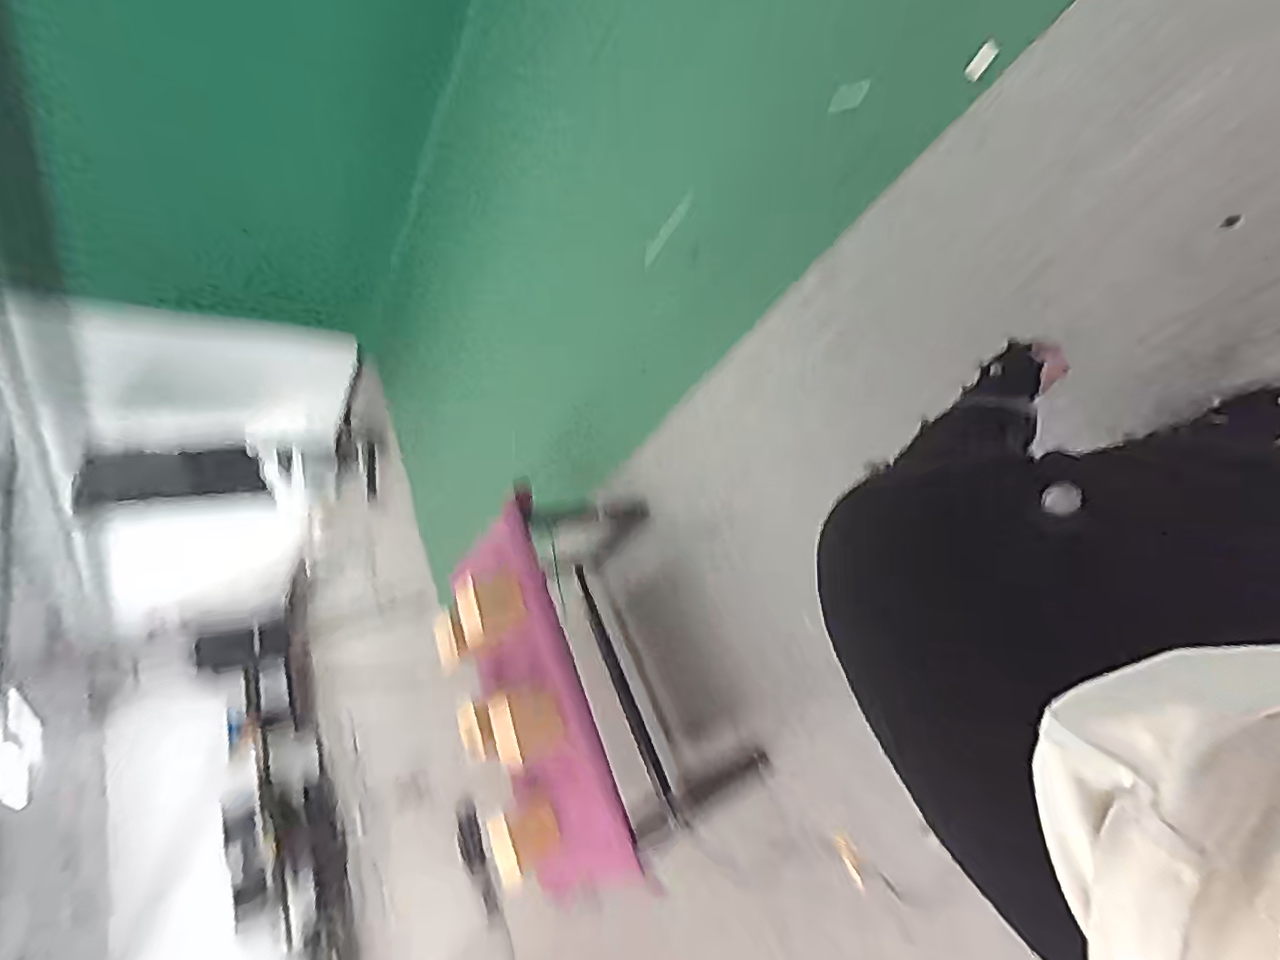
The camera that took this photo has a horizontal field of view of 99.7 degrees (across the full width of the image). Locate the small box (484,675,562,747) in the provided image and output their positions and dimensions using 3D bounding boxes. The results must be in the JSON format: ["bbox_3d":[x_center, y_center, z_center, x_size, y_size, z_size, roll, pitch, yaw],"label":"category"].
[{"bbox_3d":[-0.381,0.749,1.766,0.168,0.176,0.179,-34,69,45],"label":"small box"}]

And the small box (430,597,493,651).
[{"bbox_3d":[-0.680,0.538,2.073,0.179,0.176,0.168,-37,67,43],"label":"small box"}]

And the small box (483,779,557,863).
[{"bbox_3d":[-0.402,1.146,1.822,0.168,0.176,0.179,-48,59,38],"label":"small box"}]

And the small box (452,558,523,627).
[{"bbox_3d":[-0.532,0.391,1.898,0.168,0.176,0.179,-38,67,43],"label":"small box"}]
